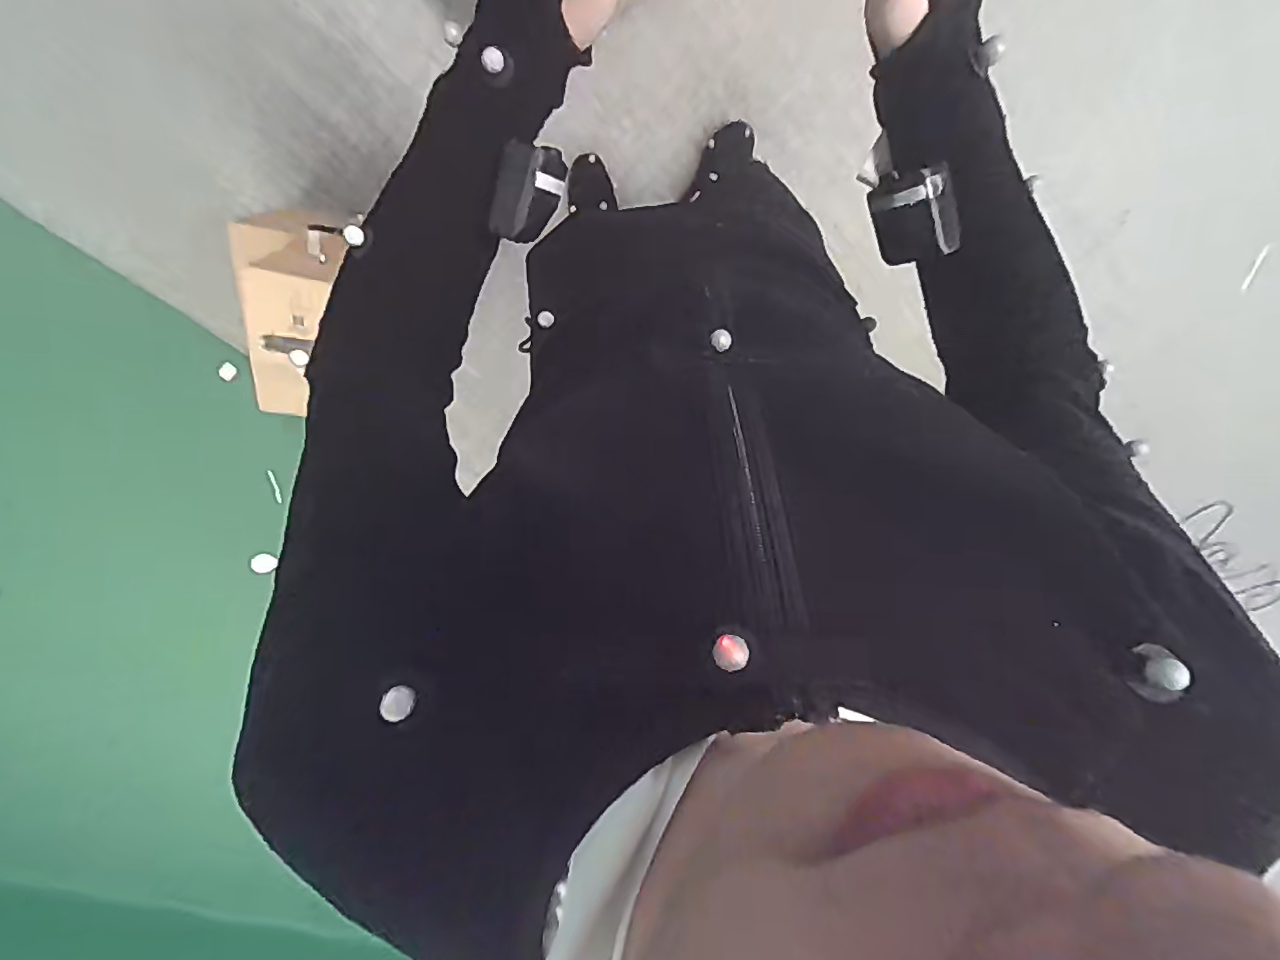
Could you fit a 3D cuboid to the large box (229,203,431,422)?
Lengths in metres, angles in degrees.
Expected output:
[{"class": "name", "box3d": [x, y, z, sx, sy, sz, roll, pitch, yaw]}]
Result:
[{"class": "large box", "box3d": [-0.688, -0.399, 1.284, 0.320, 0.320, 0.408, 6, 122, -11]}]
